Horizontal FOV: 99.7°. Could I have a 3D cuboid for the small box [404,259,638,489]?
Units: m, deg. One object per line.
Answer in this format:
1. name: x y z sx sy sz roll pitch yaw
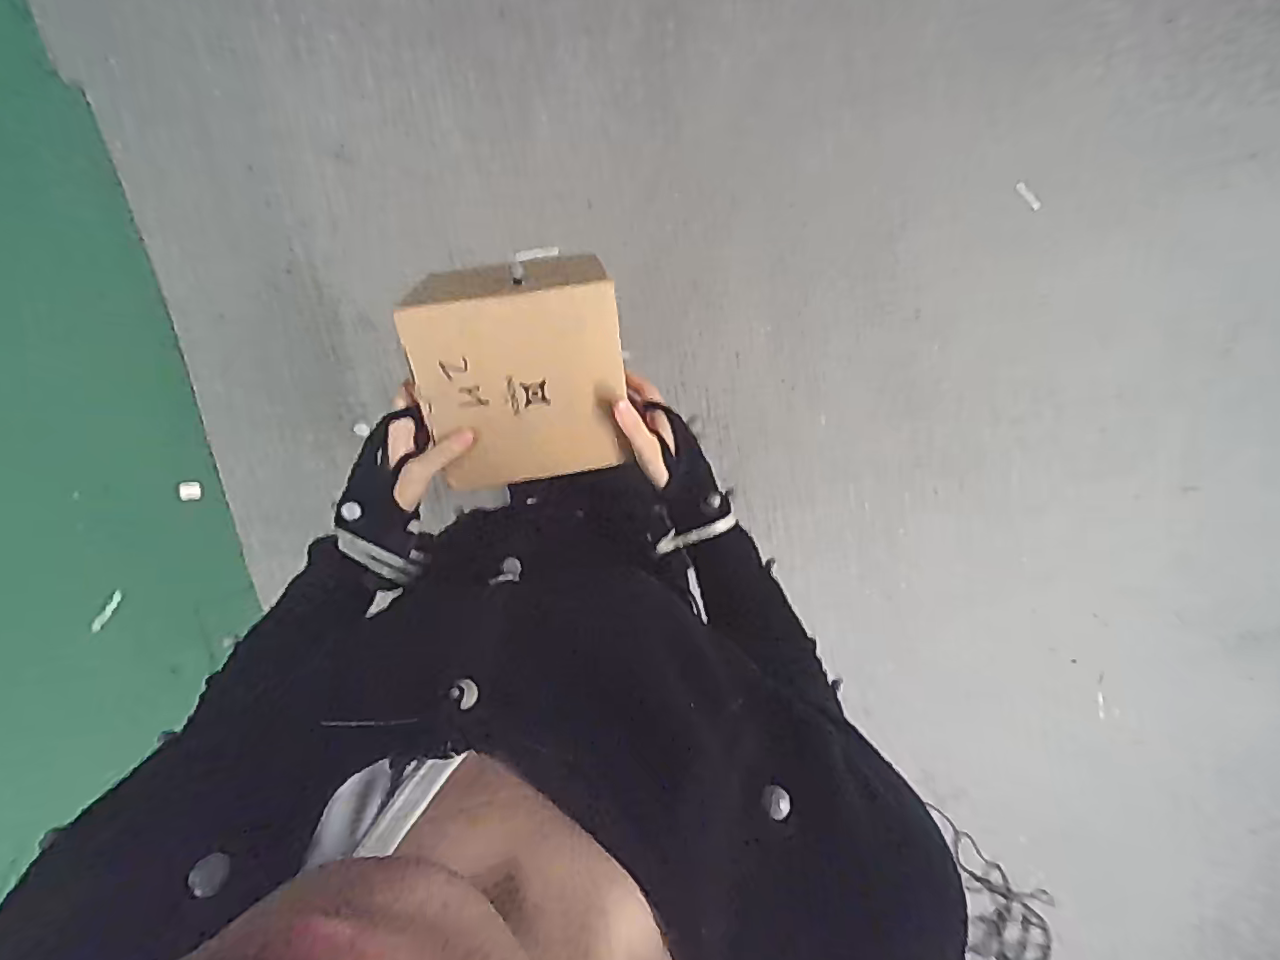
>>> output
1. small box: -0.107 -0.114 0.538 0.179 0.176 0.168 -10 121 -5
